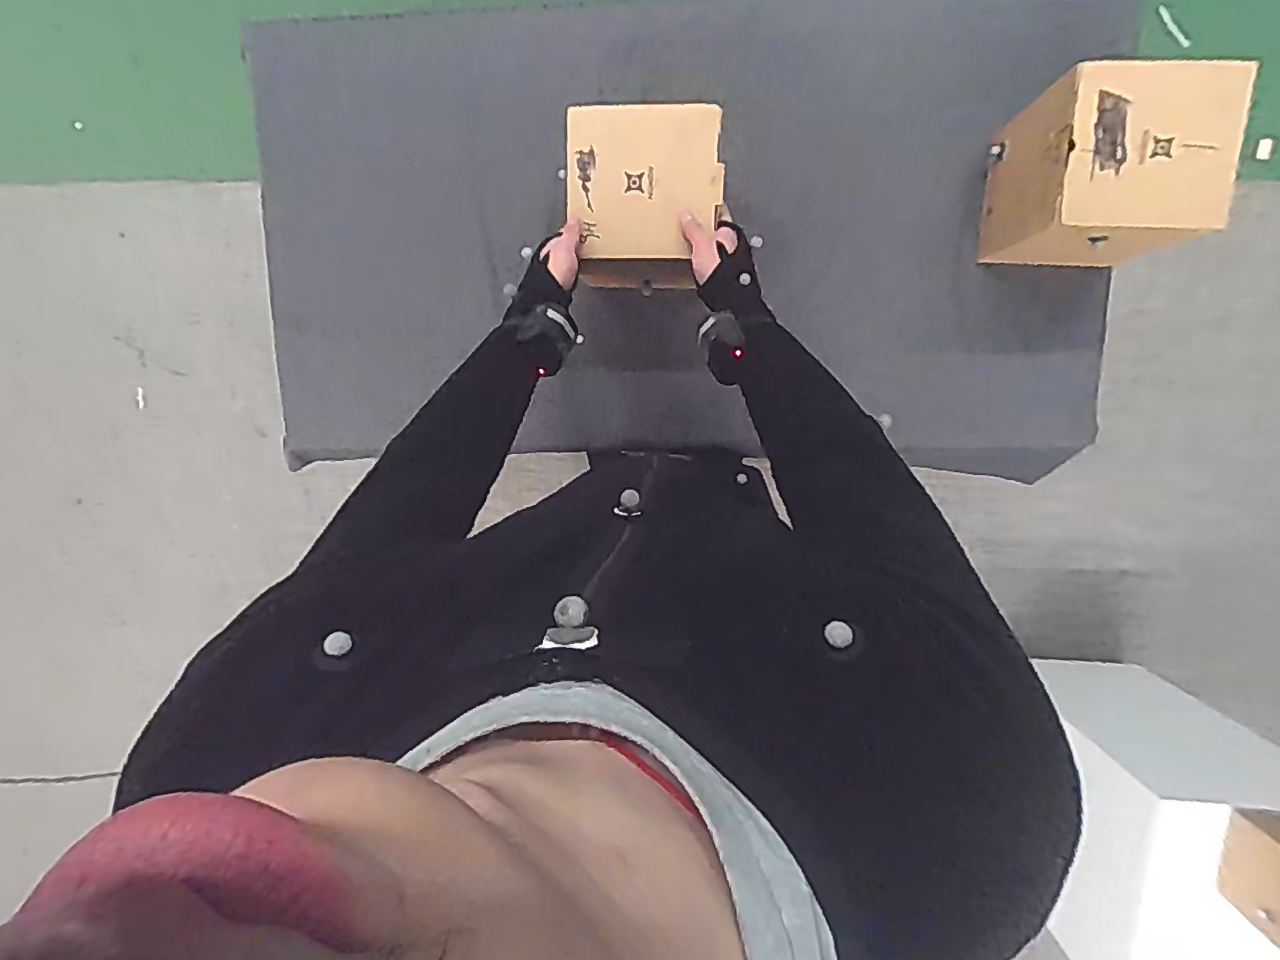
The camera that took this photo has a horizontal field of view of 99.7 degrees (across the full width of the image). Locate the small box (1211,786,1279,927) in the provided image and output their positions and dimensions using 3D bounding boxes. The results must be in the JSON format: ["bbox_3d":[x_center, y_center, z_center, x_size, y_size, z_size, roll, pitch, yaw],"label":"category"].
[{"bbox_3d":[1.148,0.661,0.926,0.168,0.176,0.179,-1,98,0],"label":"small box"}]

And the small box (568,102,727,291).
[{"bbox_3d":[0.007,-0.340,0.678,0.179,0.176,0.168,0,98,0],"label":"small box"}]

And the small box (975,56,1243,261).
[{"bbox_3d":[0.546,-0.373,0.658,0.179,0.176,0.168,2,98,1],"label":"small box"}]
